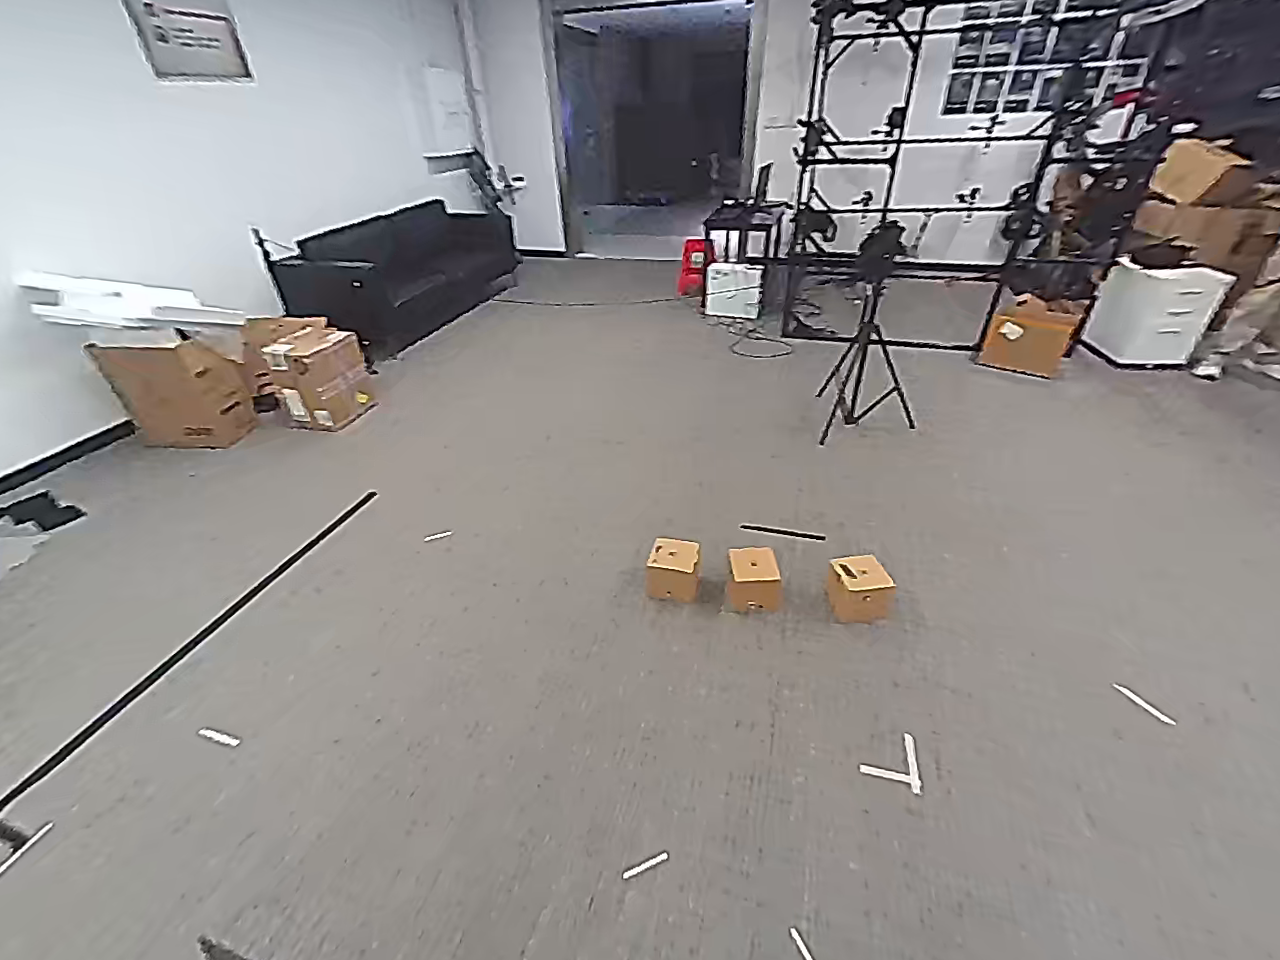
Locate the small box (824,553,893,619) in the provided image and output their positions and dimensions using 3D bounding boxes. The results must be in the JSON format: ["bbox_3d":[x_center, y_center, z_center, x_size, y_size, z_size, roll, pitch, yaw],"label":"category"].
[{"bbox_3d":[0.789,0.390,1.977,0.179,0.176,0.168,-6,35,-6],"label":"small box"}]

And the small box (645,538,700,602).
[{"bbox_3d":[0.128,0.349,2.086,0.179,0.176,0.168,7,35,14],"label":"small box"}]

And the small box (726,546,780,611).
[{"bbox_3d":[0.420,0.371,2.033,0.168,0.176,0.179,-4,35,0],"label":"small box"}]
